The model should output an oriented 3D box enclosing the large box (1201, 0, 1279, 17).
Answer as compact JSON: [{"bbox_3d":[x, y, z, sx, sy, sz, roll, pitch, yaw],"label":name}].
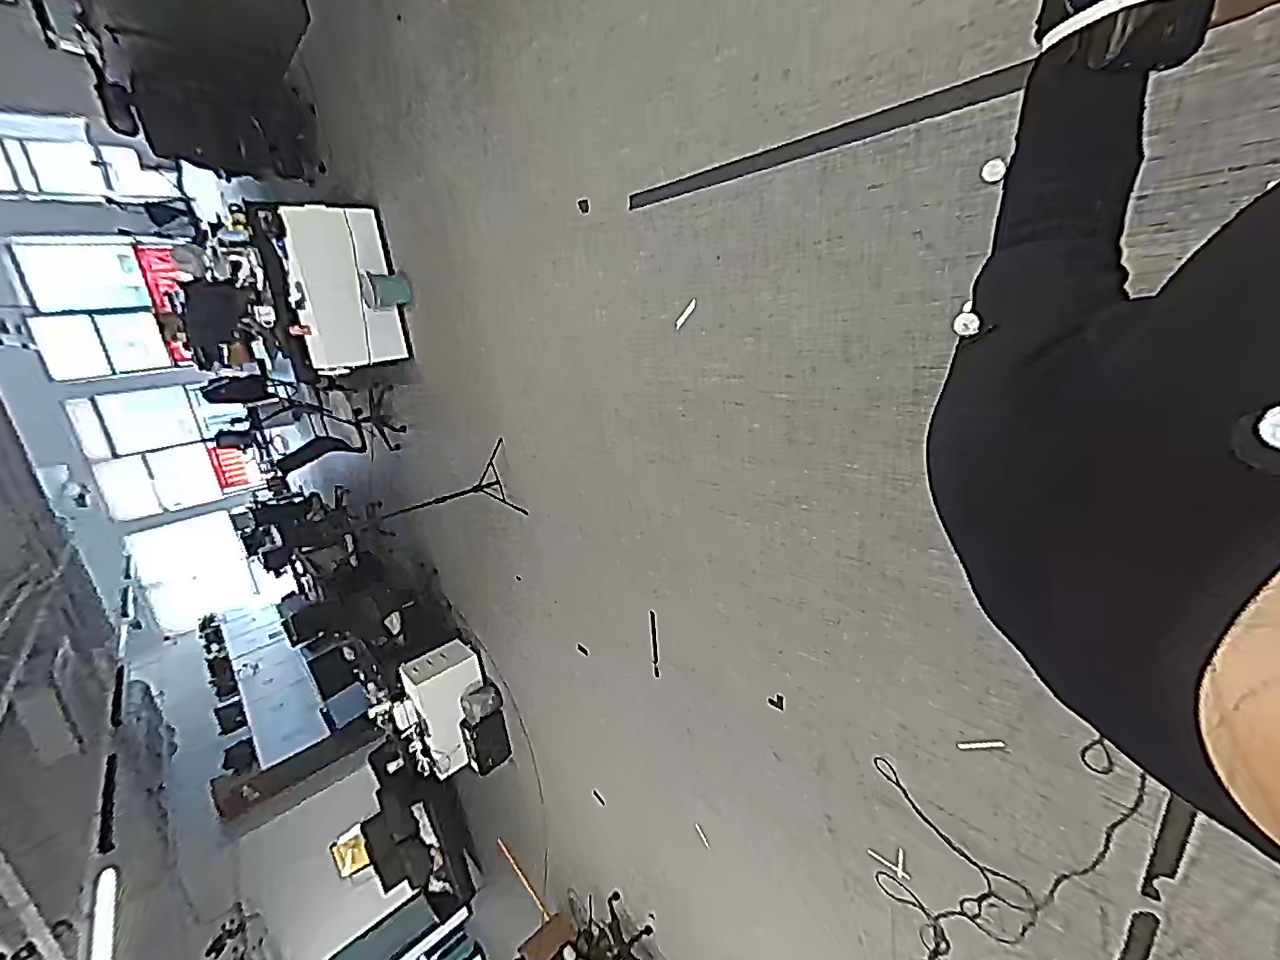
[{"bbox_3d":[0.545,-0.497,0.237,0.408,0.320,0.320,12,123,46],"label":"large box"}]
